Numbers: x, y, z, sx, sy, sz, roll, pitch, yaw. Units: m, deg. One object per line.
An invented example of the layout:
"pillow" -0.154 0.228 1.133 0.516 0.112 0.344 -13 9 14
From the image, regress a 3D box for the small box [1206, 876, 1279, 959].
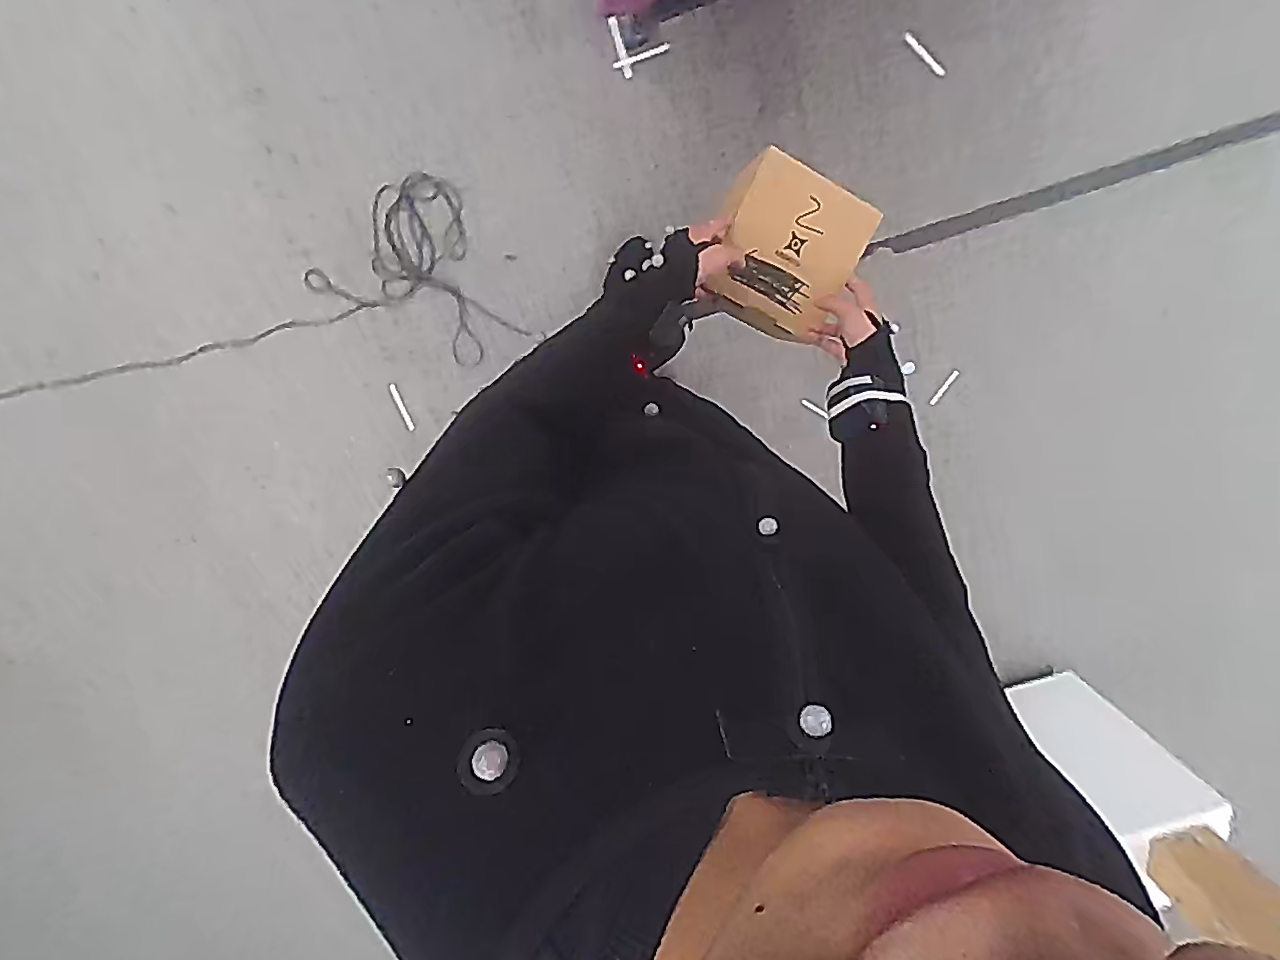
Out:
"small box" 1.580 1.143 1.349 0.179 0.176 0.168 -21 113 1

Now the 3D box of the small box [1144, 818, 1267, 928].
"small box" 1.559 1.086 1.502 0.168 0.176 0.179 -17 112 1
